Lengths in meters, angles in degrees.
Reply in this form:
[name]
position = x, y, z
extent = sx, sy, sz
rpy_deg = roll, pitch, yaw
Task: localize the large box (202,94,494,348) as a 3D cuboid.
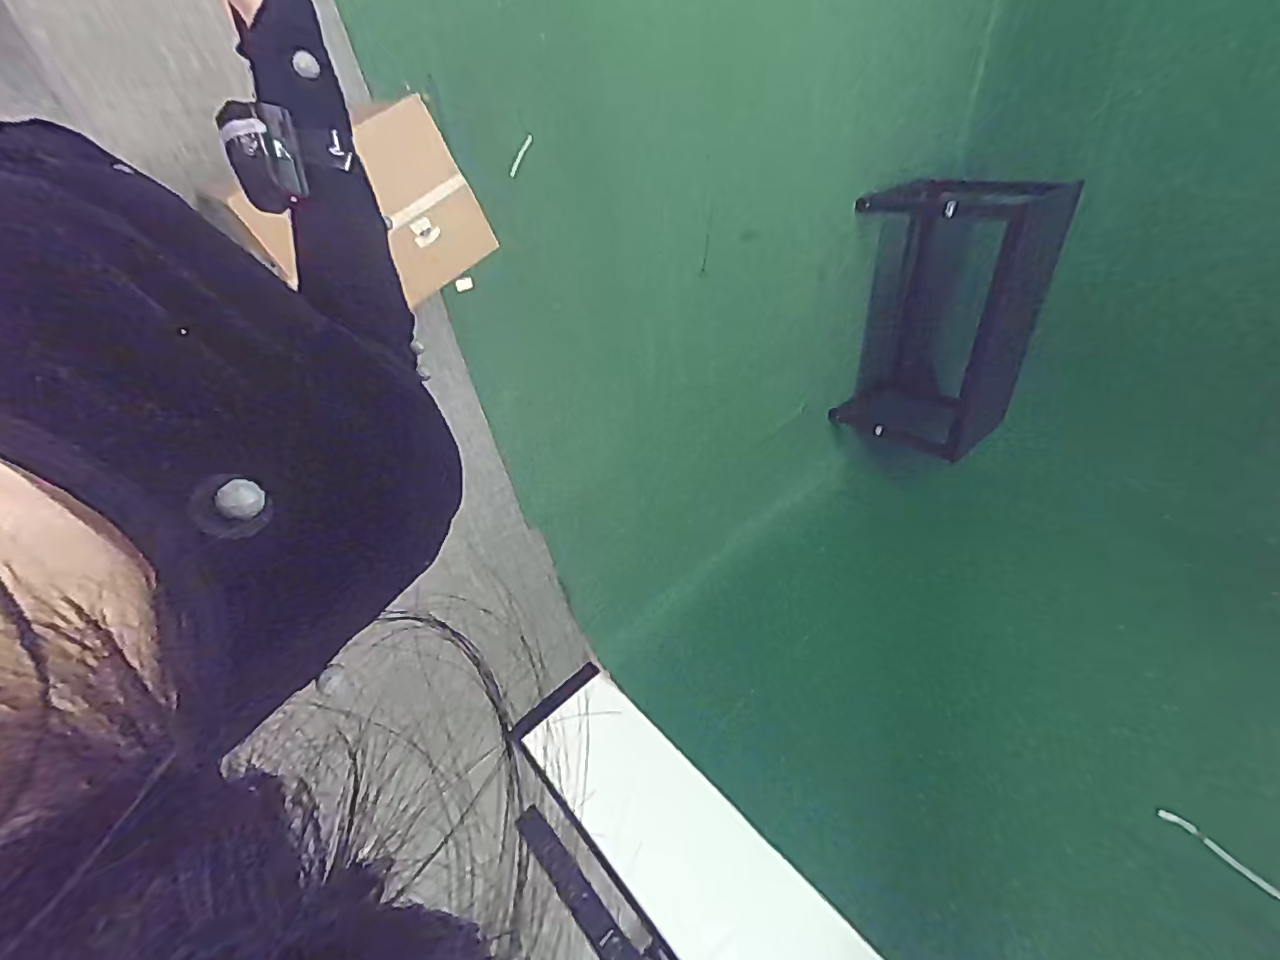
[large box]
position = -0.609, -0.550, 1.156
extent = 0.408, 0.320, 0.320
rpy_deg = -45, 138, -18
